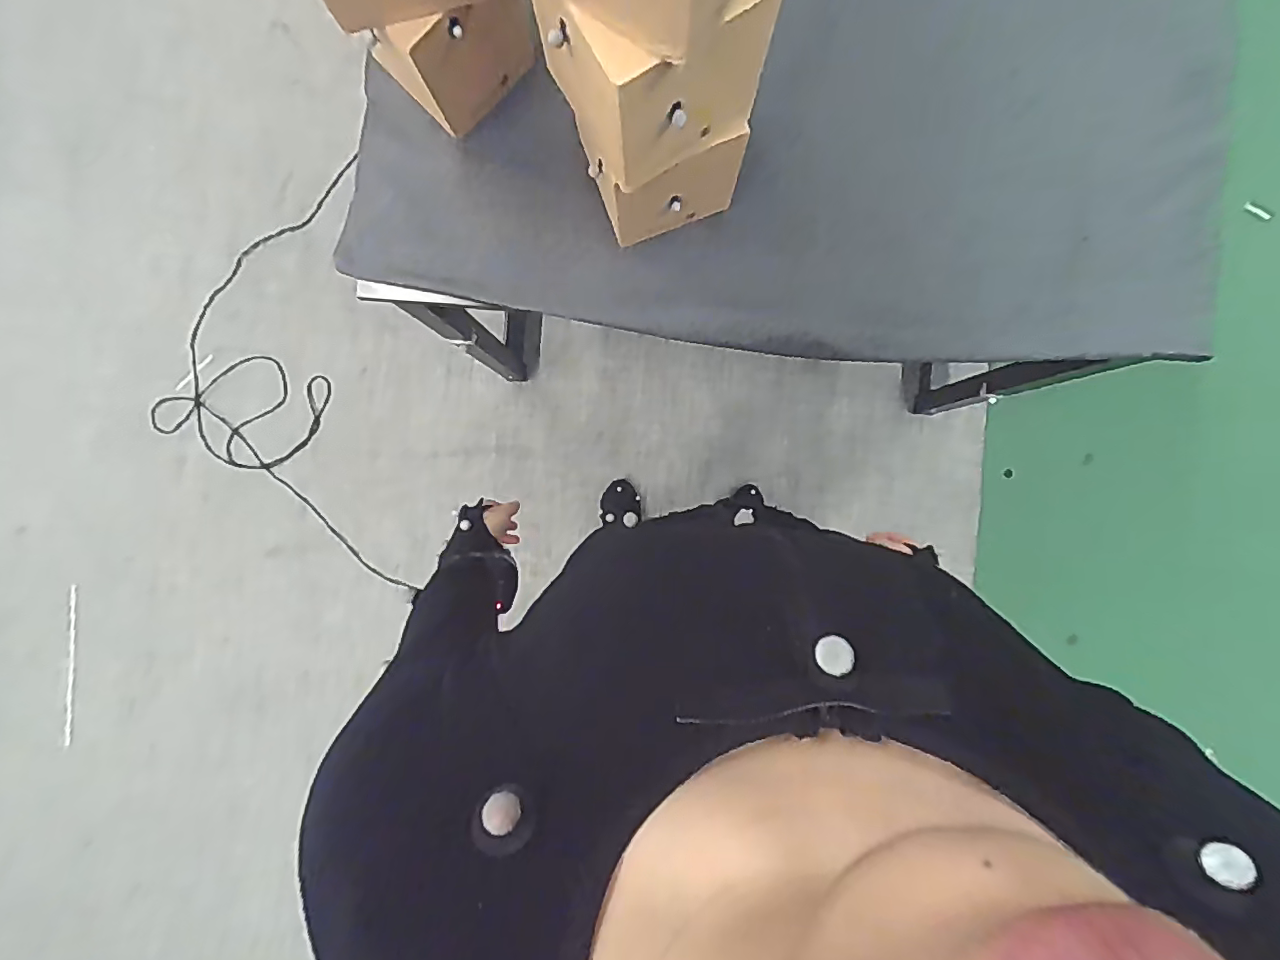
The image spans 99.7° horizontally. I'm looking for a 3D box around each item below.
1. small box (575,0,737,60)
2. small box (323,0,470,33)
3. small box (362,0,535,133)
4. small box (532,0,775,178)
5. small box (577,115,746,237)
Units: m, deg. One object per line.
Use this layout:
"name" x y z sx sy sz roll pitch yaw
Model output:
"small box" 0.007 -0.442 0.361 0.179 0.176 0.168 33 91 2
"small box" -0.269 -0.599 0.530 0.179 0.176 0.168 -14 90 2
"small box" -0.264 -0.603 0.695 0.168 0.176 0.179 -45 89 1
"small box" 0.008 -0.432 0.523 0.168 0.176 0.179 -31 88 1
"small box" 0.019 -0.437 0.685 0.168 0.176 0.179 -20 89 1
